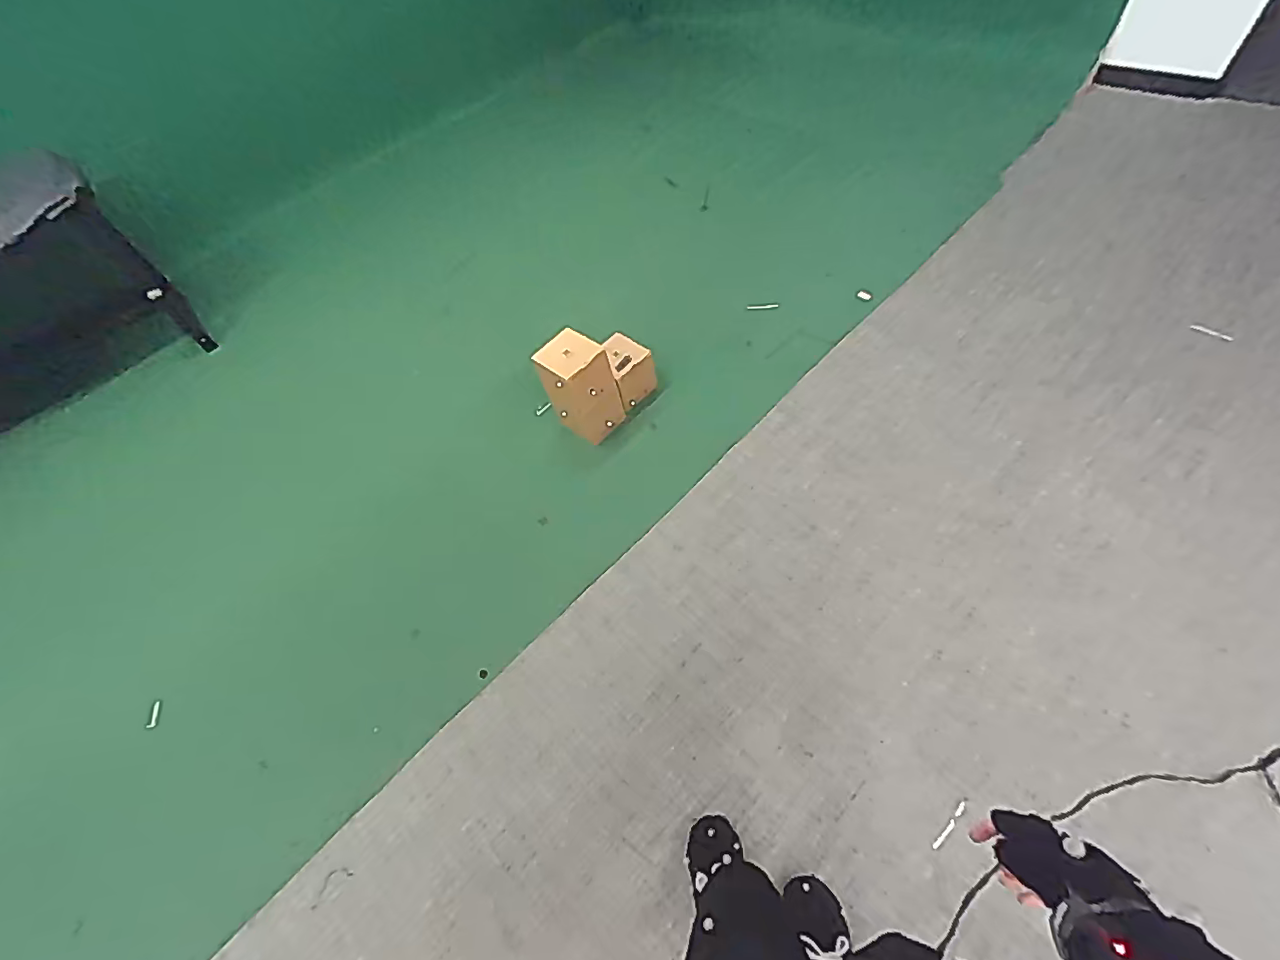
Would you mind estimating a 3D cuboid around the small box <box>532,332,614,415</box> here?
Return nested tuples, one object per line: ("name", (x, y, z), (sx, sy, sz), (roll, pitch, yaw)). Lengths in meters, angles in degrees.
("small box", (-0.210, -0.336, 1.729), (0.179, 0.176, 0.168), (34, 69, 28))
